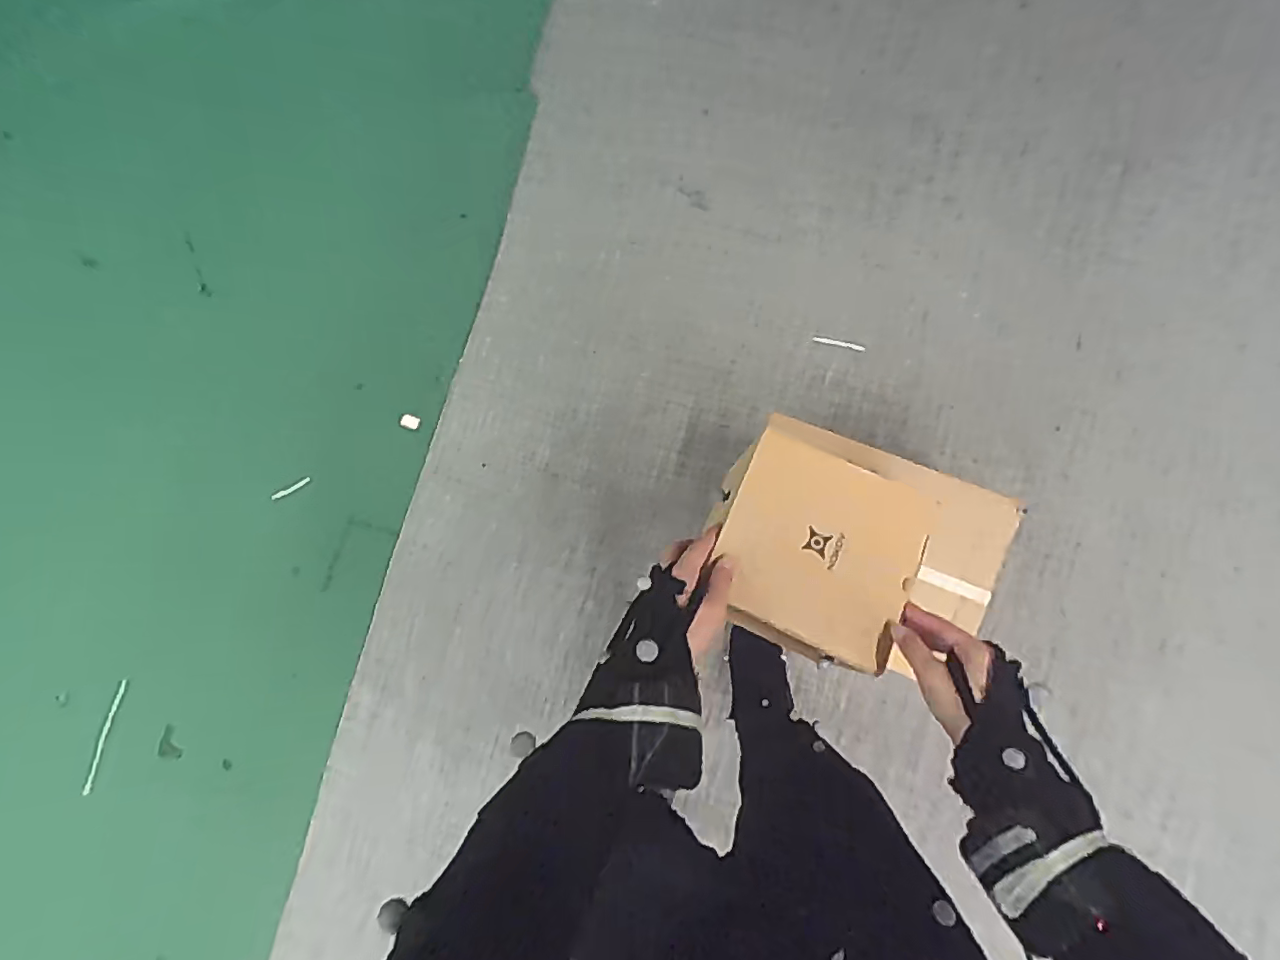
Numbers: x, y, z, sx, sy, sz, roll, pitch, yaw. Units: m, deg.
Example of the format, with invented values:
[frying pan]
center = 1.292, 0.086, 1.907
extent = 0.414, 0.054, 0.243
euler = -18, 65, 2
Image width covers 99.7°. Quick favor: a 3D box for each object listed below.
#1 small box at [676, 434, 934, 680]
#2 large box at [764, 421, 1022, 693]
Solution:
[small box]
center = 0.150, 0.082, 0.550
extent = 0.179, 0.176, 0.168
euler = 25, 76, 3
[large box]
center = 0.367, 0.127, 0.996
extent = 0.408, 0.320, 0.320
euler = 23, 88, 11
